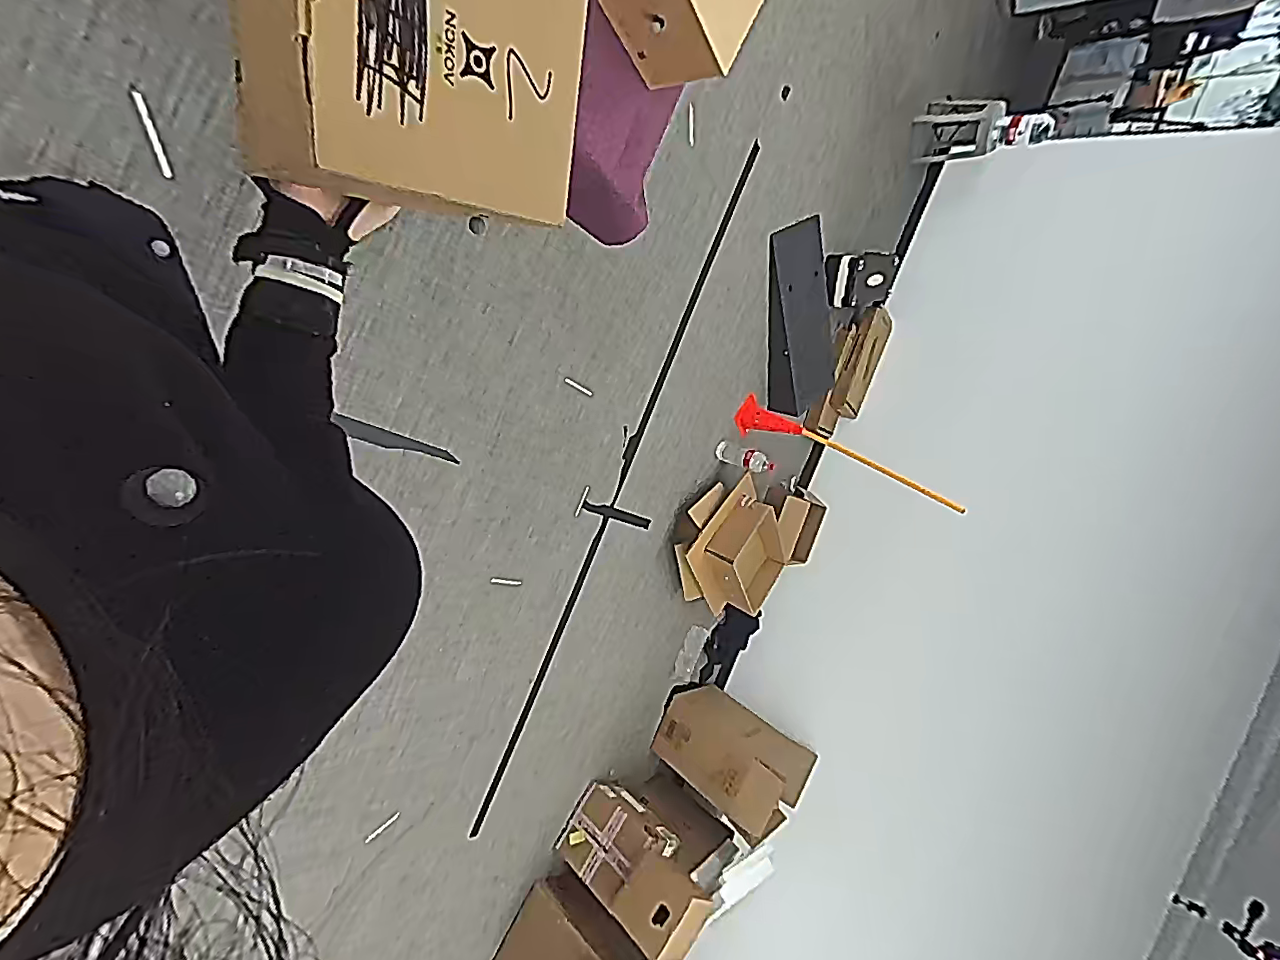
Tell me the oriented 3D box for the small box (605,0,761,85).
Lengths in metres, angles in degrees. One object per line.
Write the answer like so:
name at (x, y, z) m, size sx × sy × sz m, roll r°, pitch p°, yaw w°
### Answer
small box at (0.065, -0.771, 0.854) m, size 0.168 × 0.176 × 0.179 m, roll 31°, pitch 83°, yaw -52°
